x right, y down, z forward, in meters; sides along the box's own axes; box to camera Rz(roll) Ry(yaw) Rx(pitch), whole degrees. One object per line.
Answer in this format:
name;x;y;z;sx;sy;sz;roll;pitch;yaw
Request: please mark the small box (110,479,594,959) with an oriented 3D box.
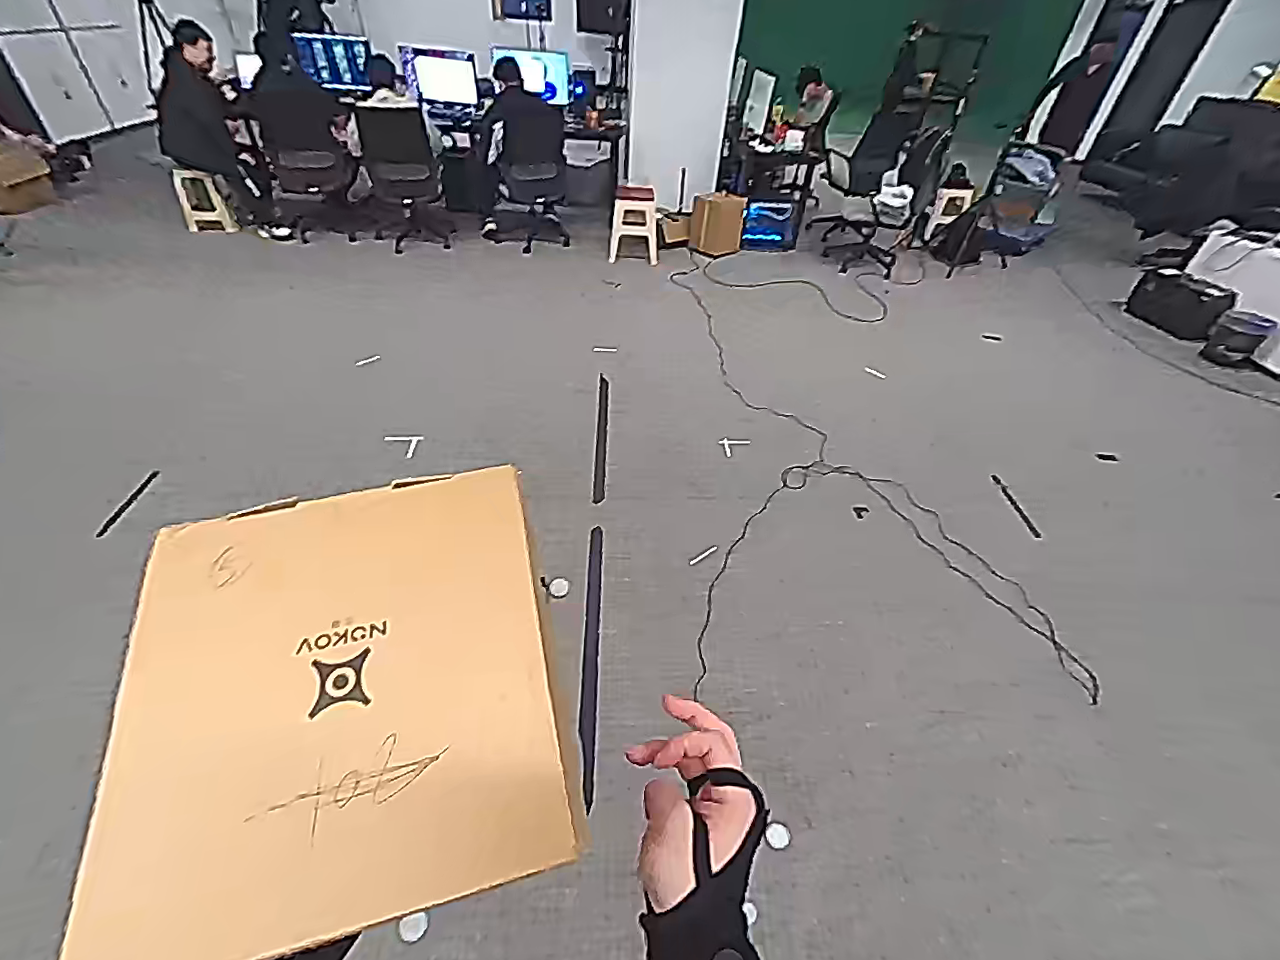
small box;-0.123;0.127;0.303;0.168;0.176;0.179;-12;60;-10
